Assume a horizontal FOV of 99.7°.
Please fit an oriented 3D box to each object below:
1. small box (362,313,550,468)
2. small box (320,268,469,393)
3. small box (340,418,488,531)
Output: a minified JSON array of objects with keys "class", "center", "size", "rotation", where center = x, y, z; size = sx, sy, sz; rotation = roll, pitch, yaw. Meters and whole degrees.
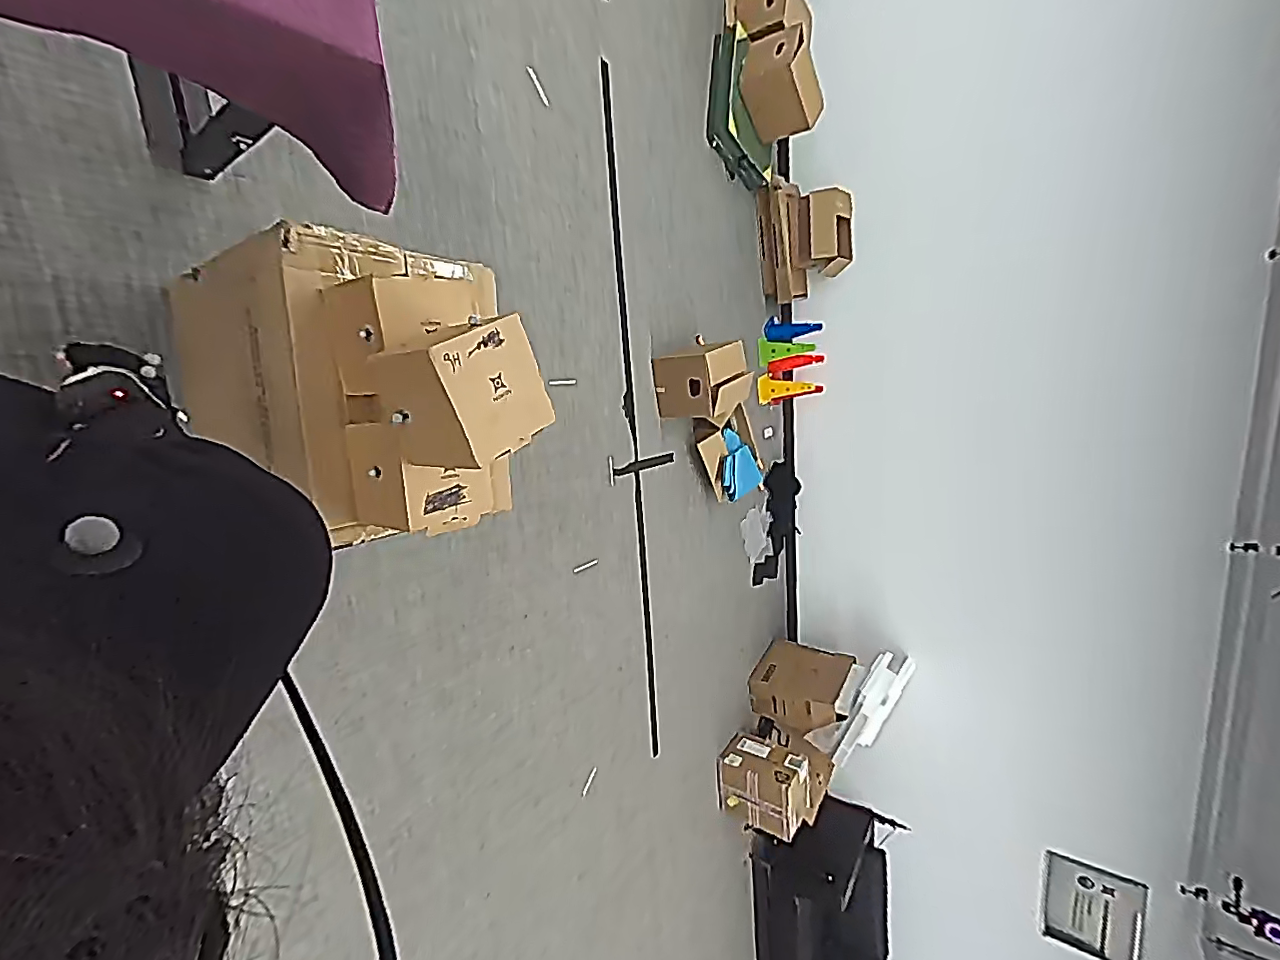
[{"class":"small box","center":[-0.270,-0.135,0.807],"size":[0.168,0.176,0.179],"rotation":[-43,126,-44]},{"class":"small box","center":[-0.401,-0.241,0.897],"size":[0.168,0.176,0.179],"rotation":[-21,112,-50]},{"class":"small box","center":[-0.388,-0.020,0.932],"size":[0.168,0.176,0.179],"rotation":[-14,102,-53]}]
